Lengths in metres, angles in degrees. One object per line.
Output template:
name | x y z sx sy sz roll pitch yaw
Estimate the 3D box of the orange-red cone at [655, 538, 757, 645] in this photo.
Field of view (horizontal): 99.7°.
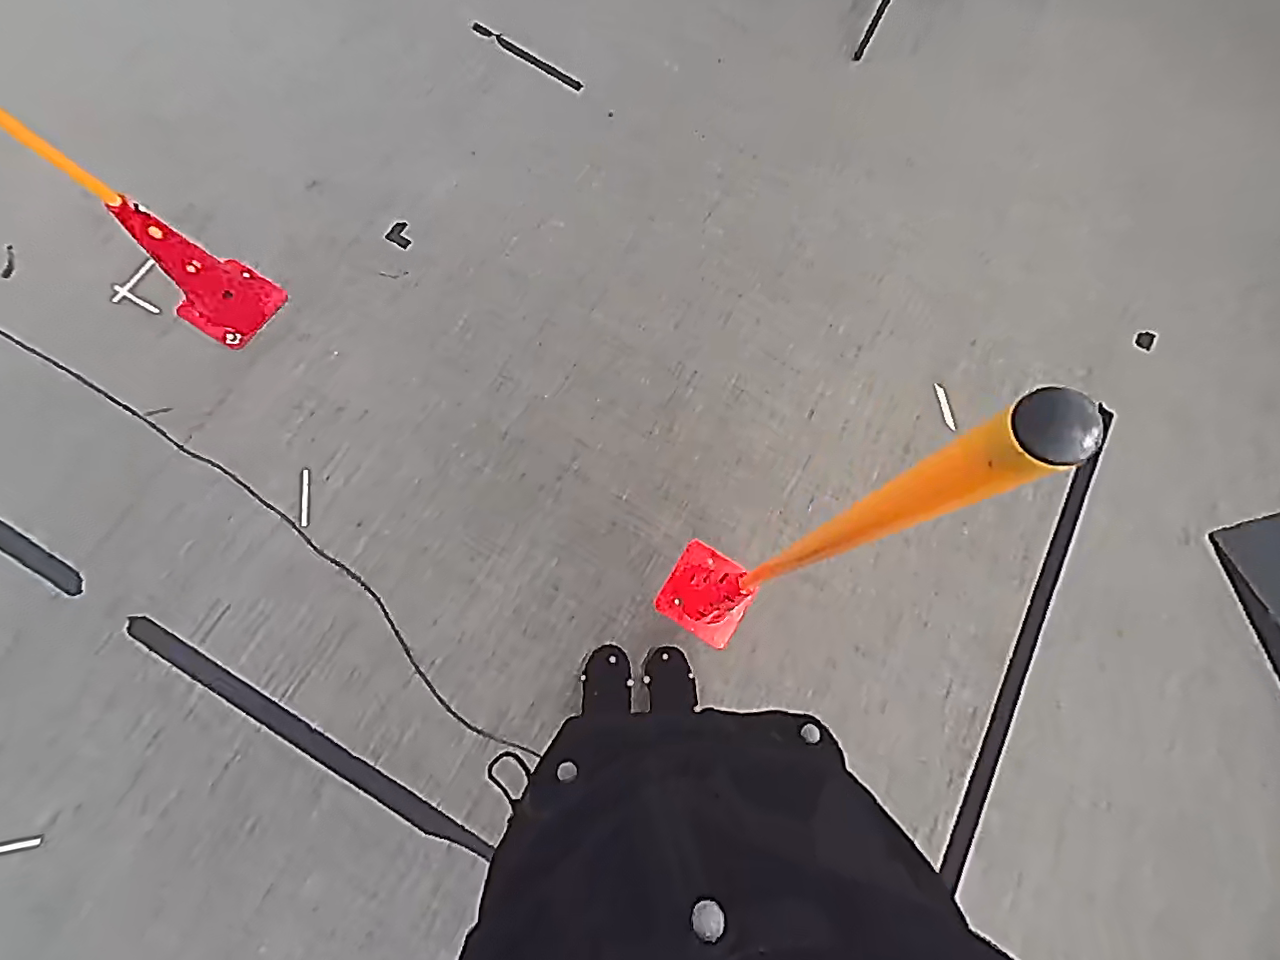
orange-red cone | 0.174 0.224 1.128 0.199 0.360 0.198 34 76 3
